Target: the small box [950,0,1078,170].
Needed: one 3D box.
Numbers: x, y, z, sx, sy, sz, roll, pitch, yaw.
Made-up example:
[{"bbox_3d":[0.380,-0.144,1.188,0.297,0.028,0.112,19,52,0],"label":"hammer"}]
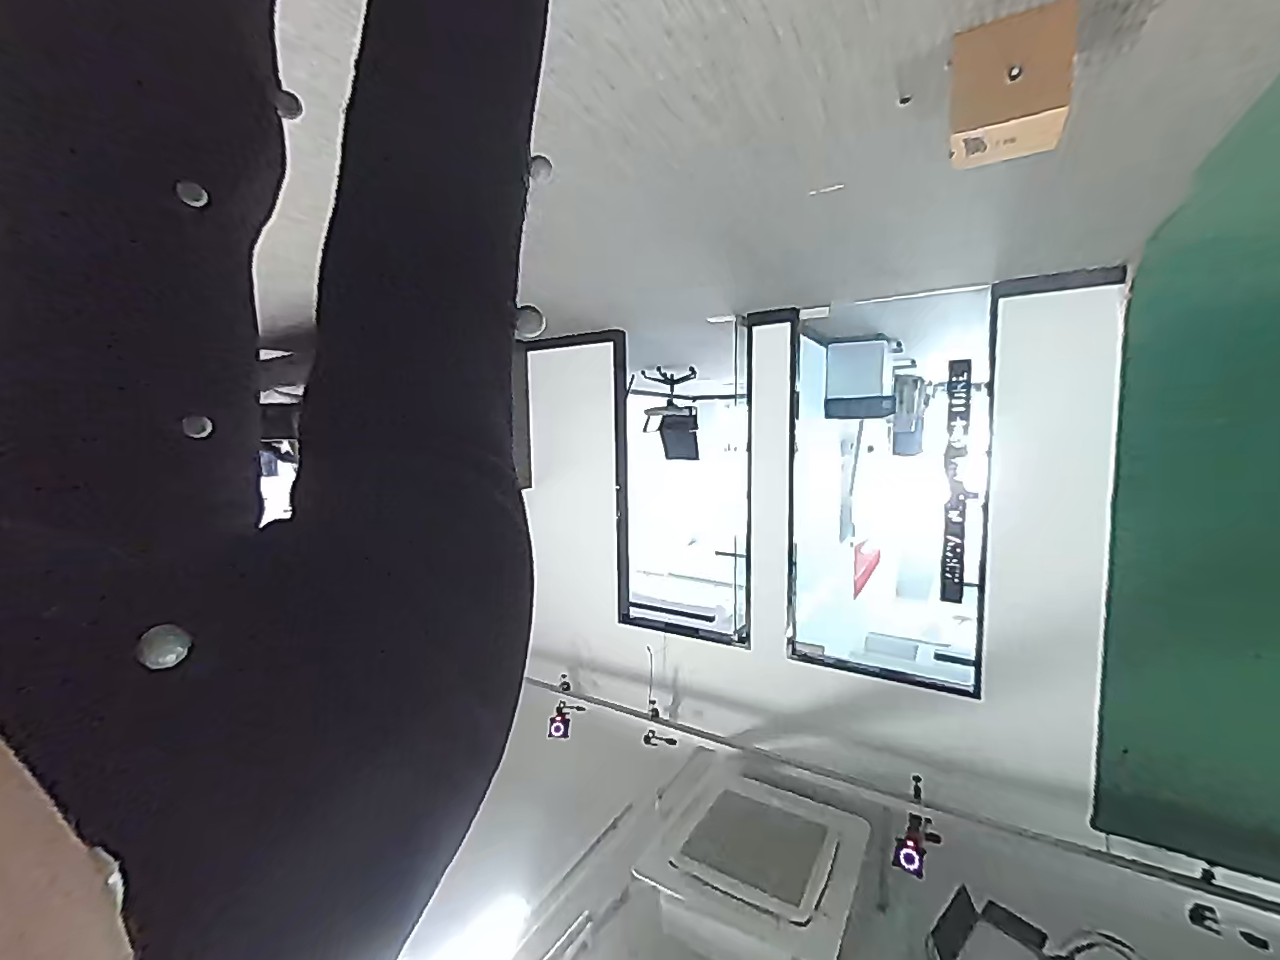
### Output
[{"bbox_3d":[0.666,-0.702,0.977,0.179,0.176,0.168,1,-174,30],"label":"small box"}]
